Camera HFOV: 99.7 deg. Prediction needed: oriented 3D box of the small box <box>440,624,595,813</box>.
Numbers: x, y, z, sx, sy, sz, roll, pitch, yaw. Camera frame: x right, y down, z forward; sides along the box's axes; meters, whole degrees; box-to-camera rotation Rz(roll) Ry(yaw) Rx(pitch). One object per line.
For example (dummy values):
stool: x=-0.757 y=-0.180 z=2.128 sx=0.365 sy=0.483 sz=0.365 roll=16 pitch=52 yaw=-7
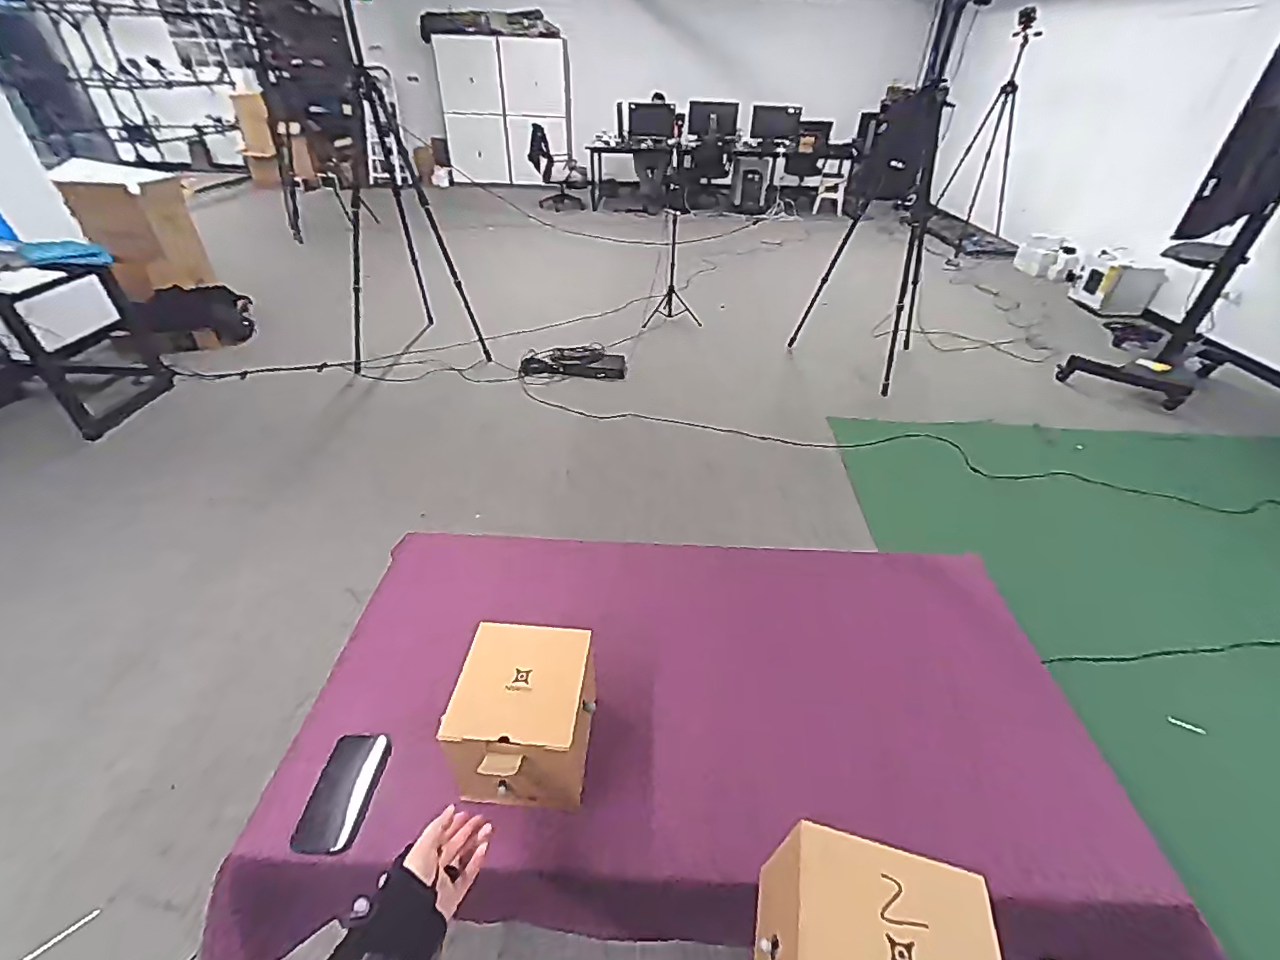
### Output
small box: x=-0.158 y=0.331 z=0.760 sx=0.168 sy=0.176 sz=0.179 roll=5 pitch=37 yaw=3
